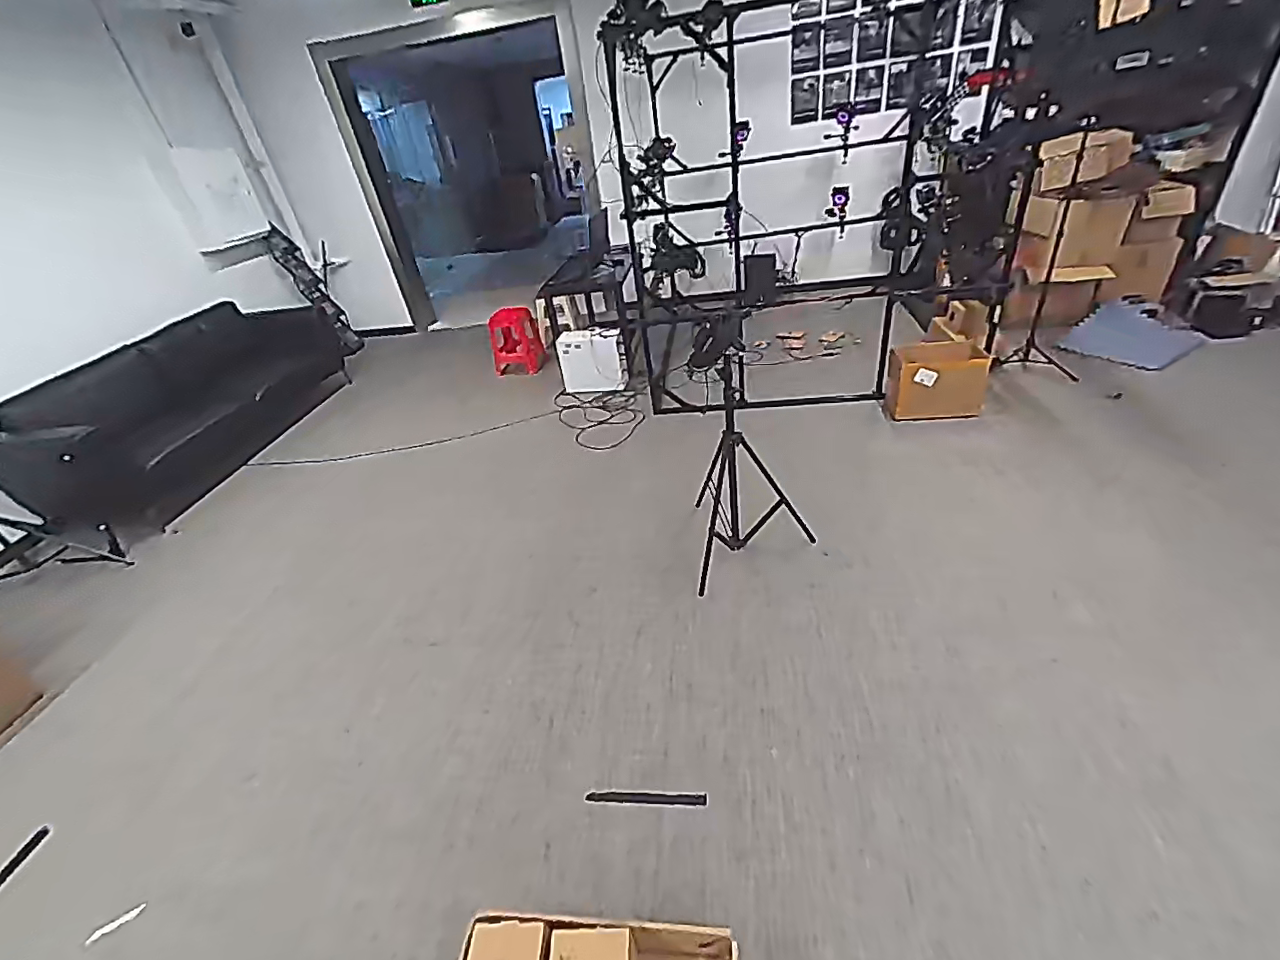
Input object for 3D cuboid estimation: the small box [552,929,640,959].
[{"bbox_3d":[-0.094,1.097,1.165,0.179,0.176,0.168,-6,35,5],"label":"small box"}]
